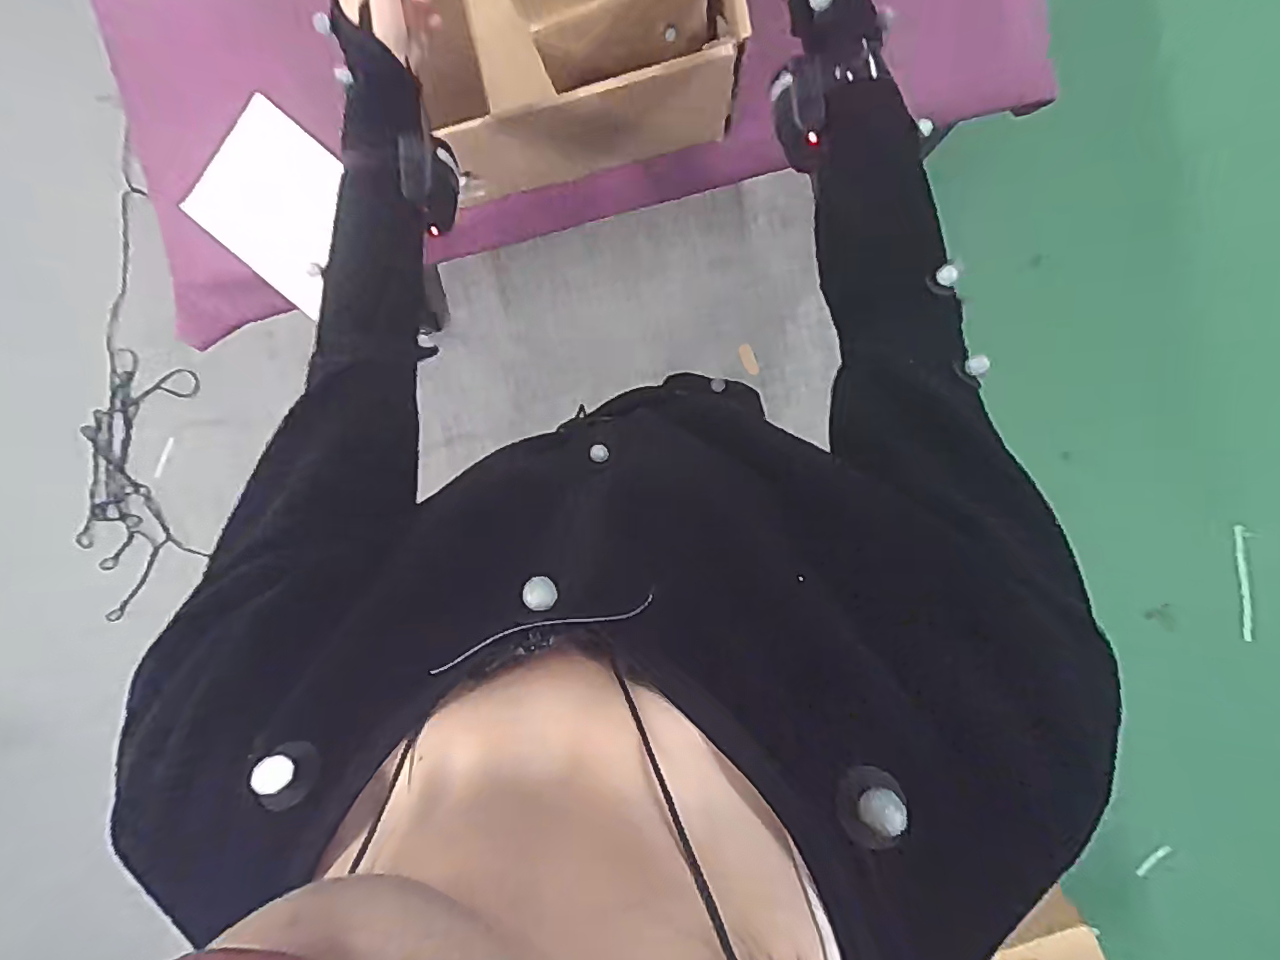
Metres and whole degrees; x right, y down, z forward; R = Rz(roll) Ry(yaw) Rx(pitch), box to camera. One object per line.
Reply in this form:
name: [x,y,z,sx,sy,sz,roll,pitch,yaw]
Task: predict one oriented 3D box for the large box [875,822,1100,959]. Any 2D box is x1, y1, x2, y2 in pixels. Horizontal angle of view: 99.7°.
large box: [0.926,1.218,1.443,0.408,0.320,0.320,-27,95,6]
